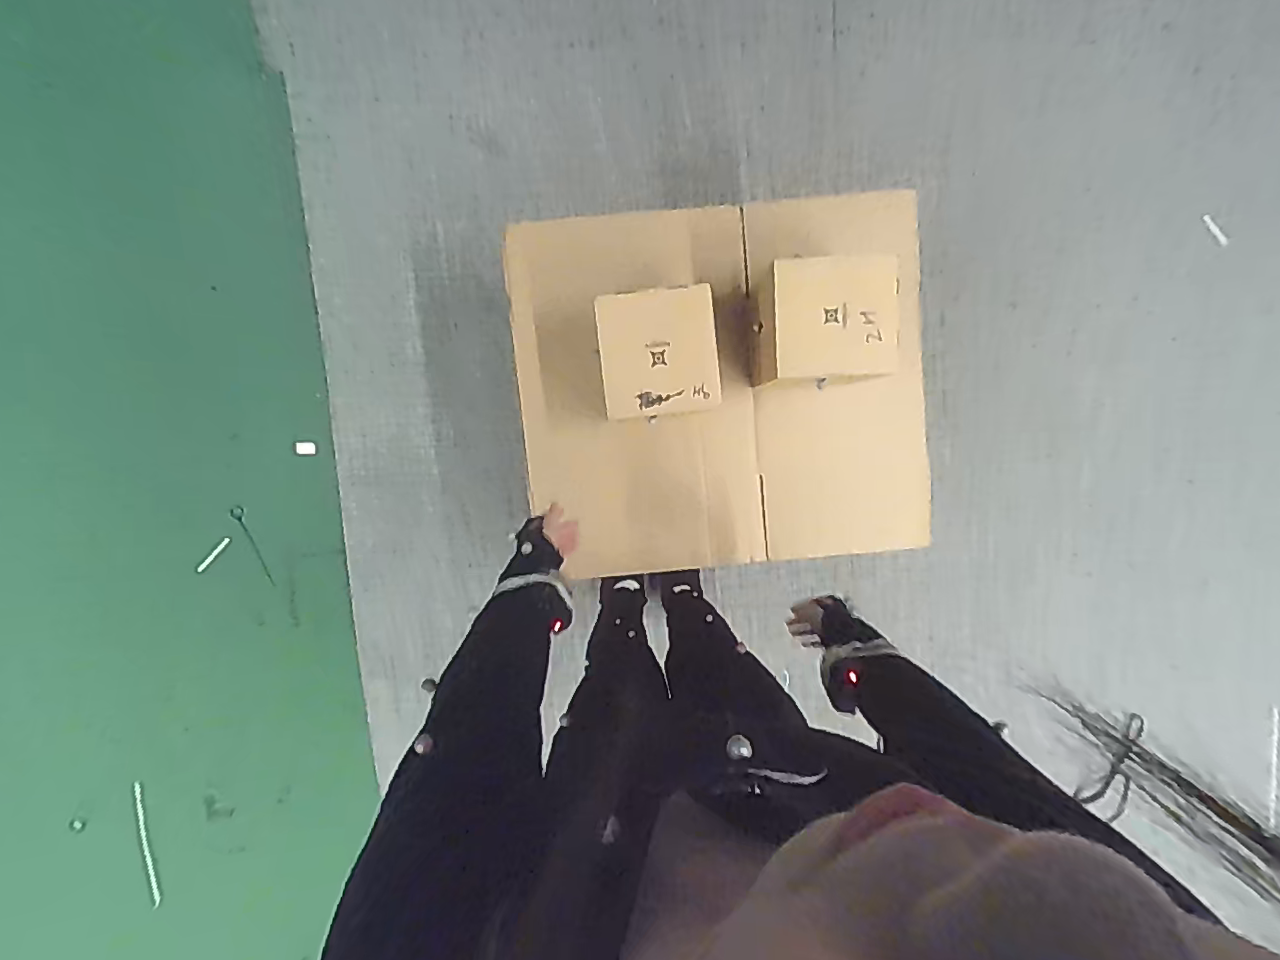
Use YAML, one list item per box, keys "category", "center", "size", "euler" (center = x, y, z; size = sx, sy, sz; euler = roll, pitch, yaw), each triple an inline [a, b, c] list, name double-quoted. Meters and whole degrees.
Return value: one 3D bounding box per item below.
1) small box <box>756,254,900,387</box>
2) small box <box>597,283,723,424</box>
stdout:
- category: "small box"
  center: [0.277, -0.235, 0.833]
  size: [0.179, 0.176, 0.168]
  euler: [-2, 95, 1]
- category: "small box"
  center: [0.028, -0.185, 0.833]
  size: [0.168, 0.176, 0.179]
  euler: [-6, 94, 2]
